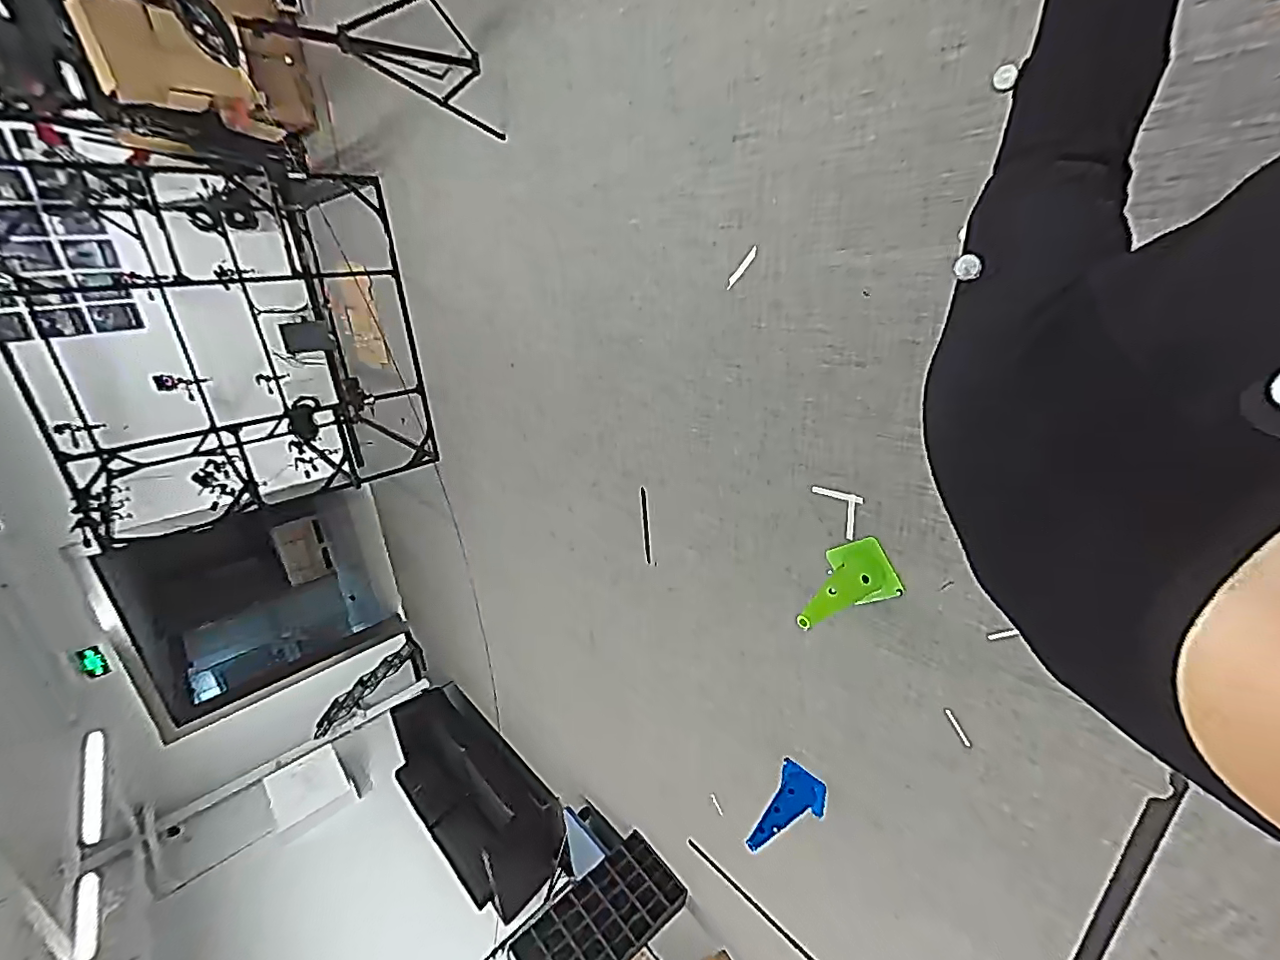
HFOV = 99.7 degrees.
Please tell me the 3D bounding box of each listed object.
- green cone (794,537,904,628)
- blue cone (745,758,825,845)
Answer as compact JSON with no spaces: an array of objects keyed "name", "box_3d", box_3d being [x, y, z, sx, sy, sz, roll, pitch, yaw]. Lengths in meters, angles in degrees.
[{"name":"green cone","box_3d":[0.587,0.340,1.626,0.202,0.368,0.200,-37,77,53]},{"name":"blue cone","box_3d":[0.563,1.331,2.173,0.192,0.380,0.193,25,125,44]}]
